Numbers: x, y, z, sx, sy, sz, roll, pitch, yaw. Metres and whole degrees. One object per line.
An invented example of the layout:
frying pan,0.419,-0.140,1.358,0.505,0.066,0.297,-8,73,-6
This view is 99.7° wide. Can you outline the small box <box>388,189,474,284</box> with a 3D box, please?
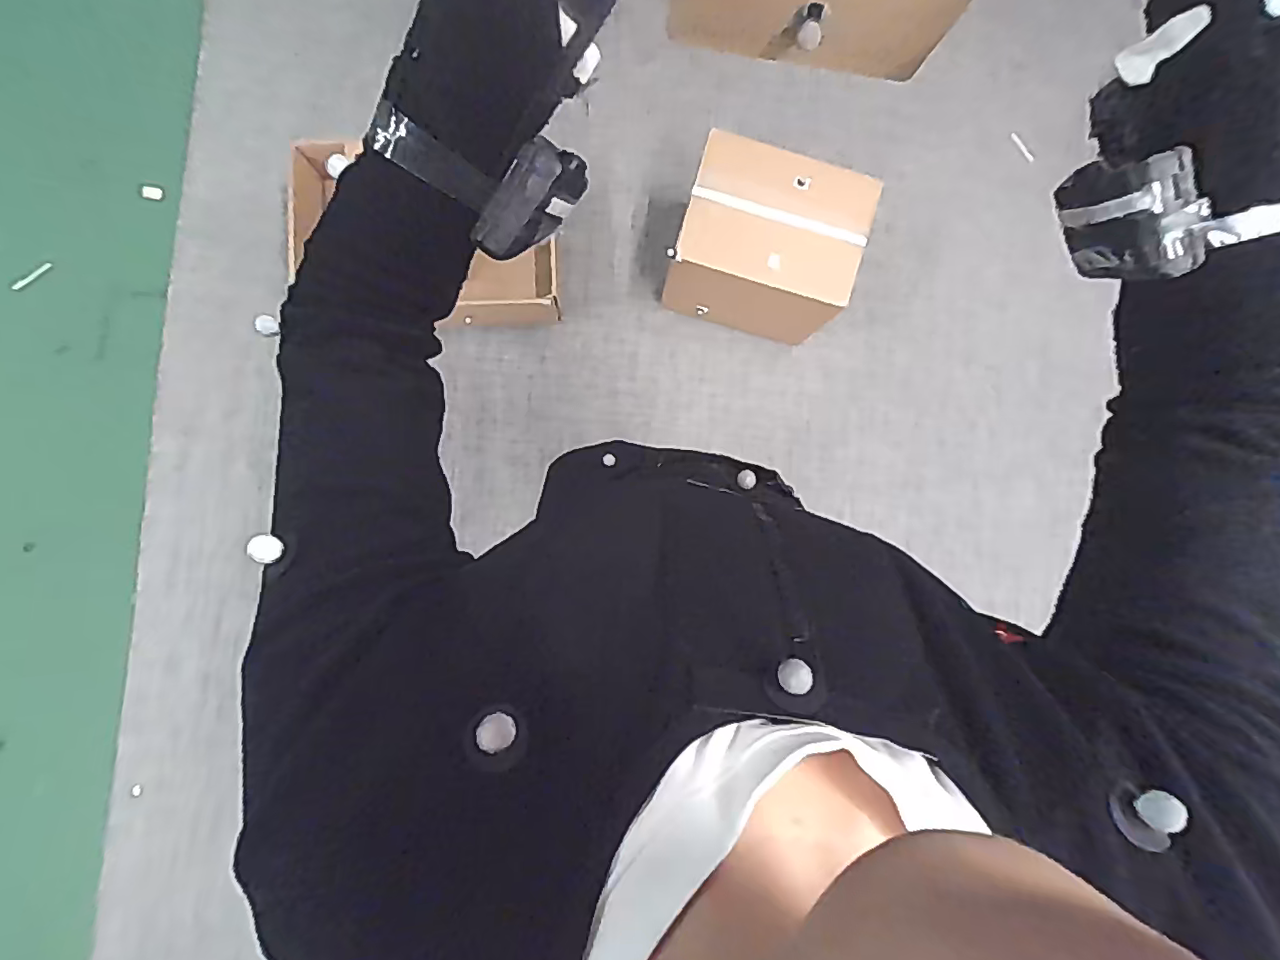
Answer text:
small box,-0.523,-0.600,1.345,0.179,0.176,0.168,-1,88,-5
